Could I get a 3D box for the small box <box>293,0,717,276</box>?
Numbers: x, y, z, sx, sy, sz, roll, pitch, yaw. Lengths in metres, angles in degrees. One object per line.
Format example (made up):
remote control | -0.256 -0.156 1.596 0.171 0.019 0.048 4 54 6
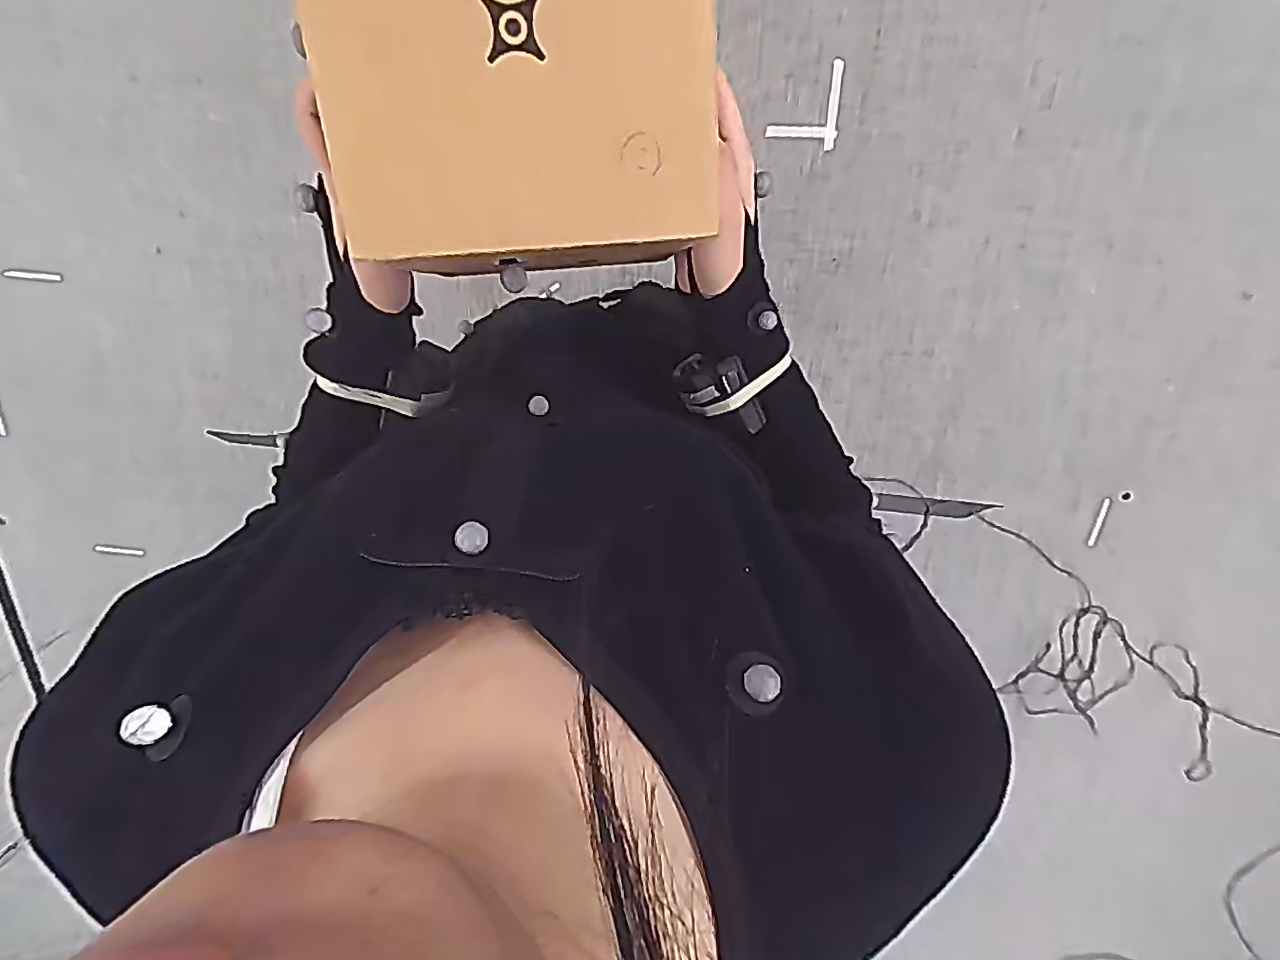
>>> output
small box | -0.057 -0.206 0.289 0.168 0.176 0.179 -6 108 -4
